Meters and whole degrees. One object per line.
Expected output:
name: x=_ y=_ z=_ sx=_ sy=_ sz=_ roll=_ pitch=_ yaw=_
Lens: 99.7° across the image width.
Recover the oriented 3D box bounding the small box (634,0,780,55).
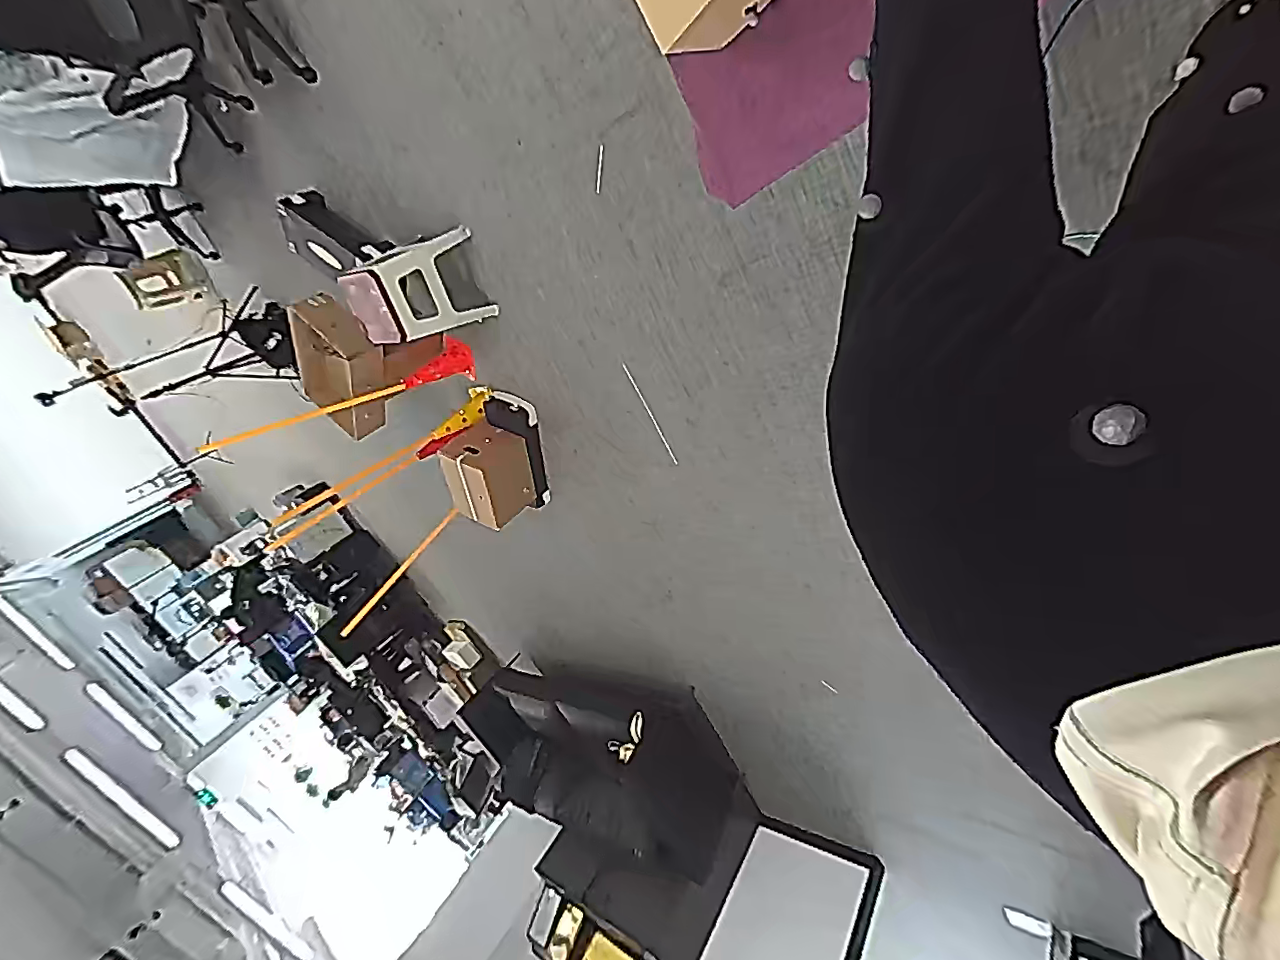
small box: x=0.084 y=-0.638 z=0.623 sx=0.168 sy=0.176 sz=0.179 roll=-15 pitch=112 yaw=48
